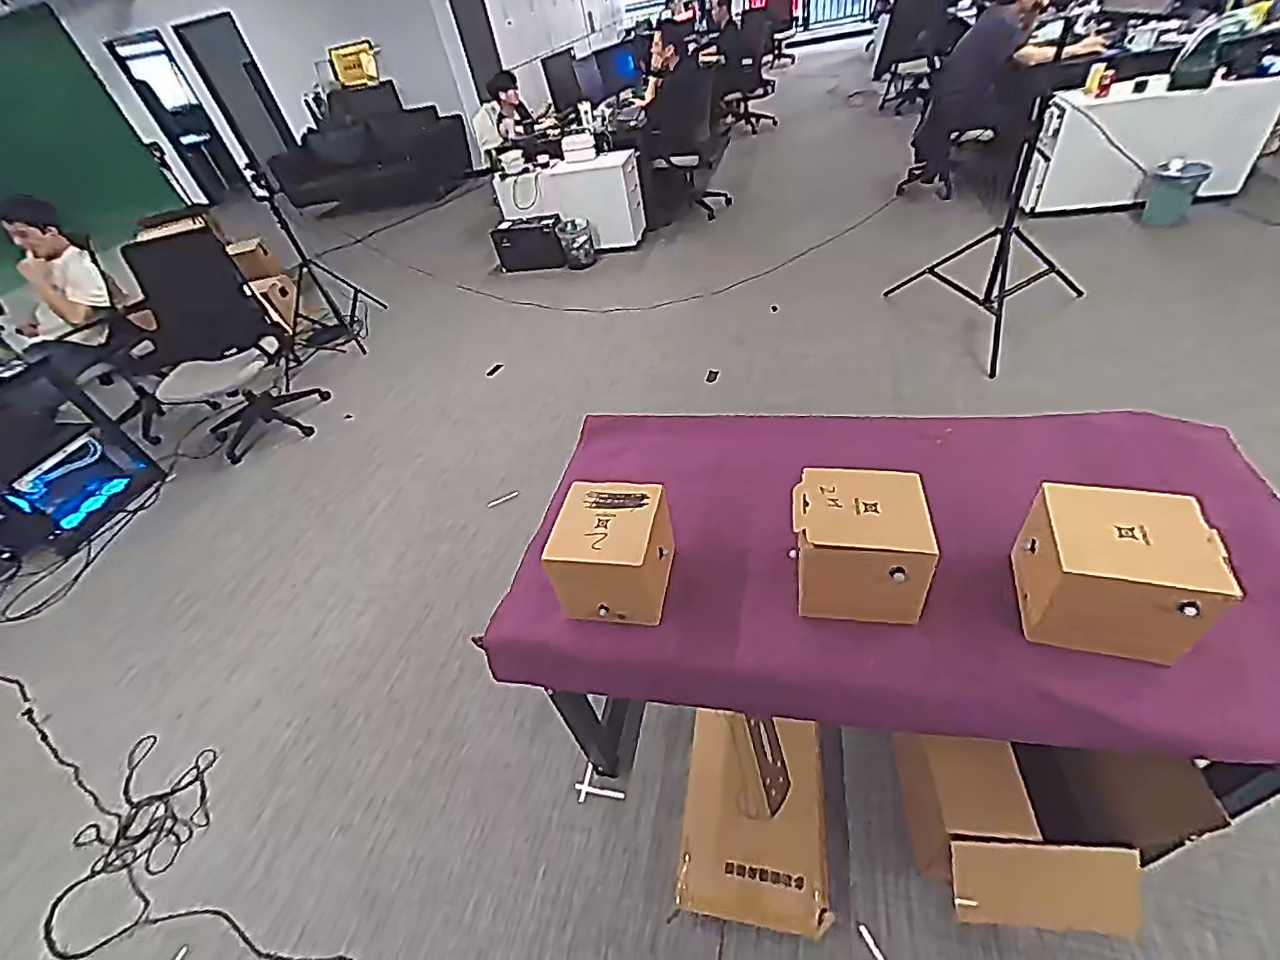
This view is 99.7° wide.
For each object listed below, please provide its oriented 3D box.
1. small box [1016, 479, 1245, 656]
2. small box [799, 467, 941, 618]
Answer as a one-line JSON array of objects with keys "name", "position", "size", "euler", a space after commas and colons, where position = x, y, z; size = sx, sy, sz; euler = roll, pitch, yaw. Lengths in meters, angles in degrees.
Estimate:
[{"name": "small box", "position": [0.647, 0.121, 0.749], "size": [0.179, 0.176, 0.168], "euler": [6, 46, 20]}, {"name": "small box", "position": [0.345, 0.098, 0.846], "size": [0.179, 0.176, 0.168], "euler": [1, 42, 15]}]
